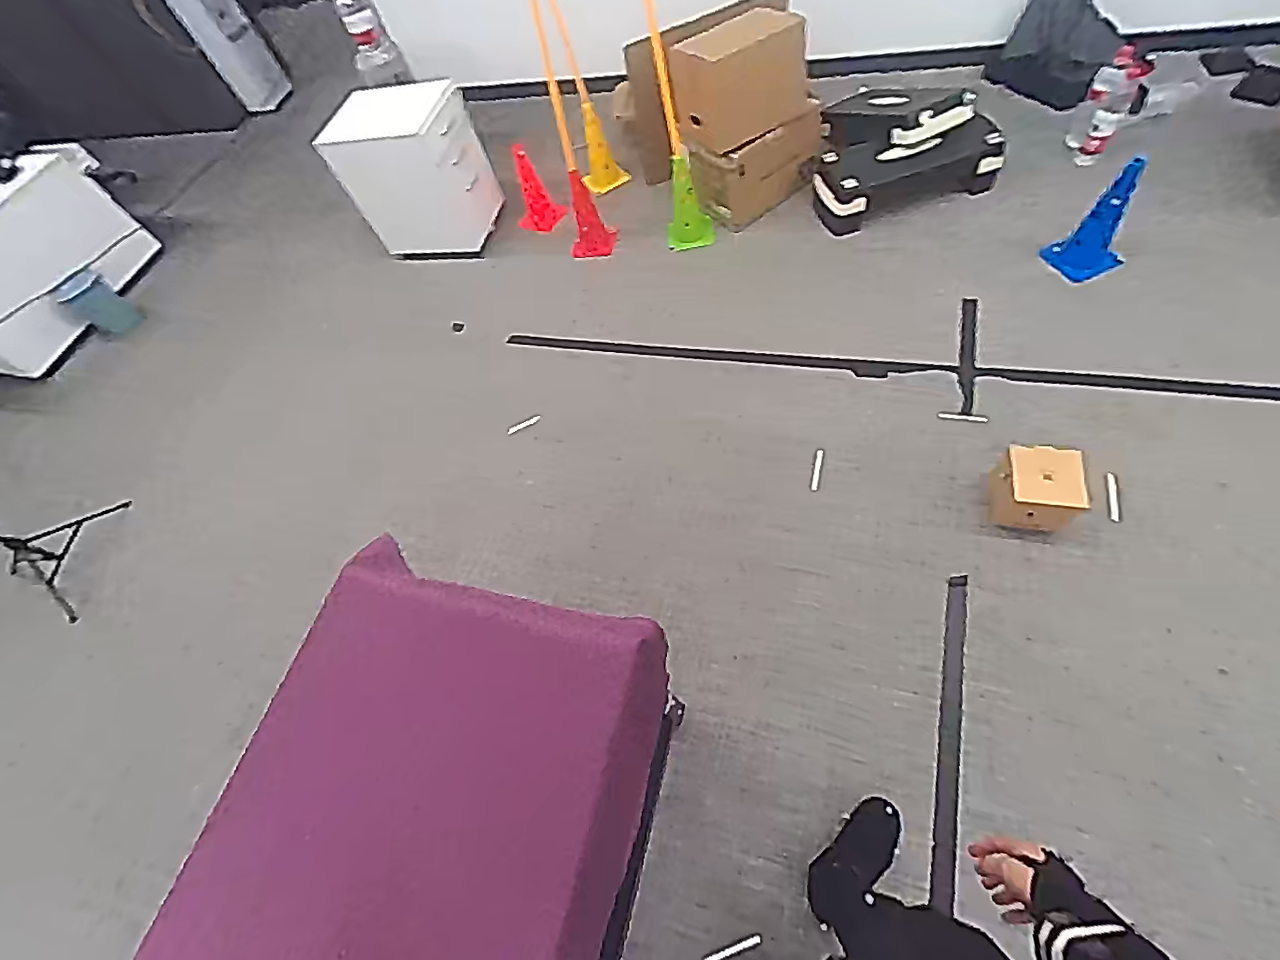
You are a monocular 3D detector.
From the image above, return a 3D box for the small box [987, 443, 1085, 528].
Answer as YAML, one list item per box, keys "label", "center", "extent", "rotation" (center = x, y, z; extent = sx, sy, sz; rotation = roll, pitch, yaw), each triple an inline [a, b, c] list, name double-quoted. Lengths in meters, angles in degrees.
- label: "small box"
  center: [1.086, 0.018, 1.495]
  extent: [0.168, 0.176, 0.179]
  rotation: [5, 62, 16]
